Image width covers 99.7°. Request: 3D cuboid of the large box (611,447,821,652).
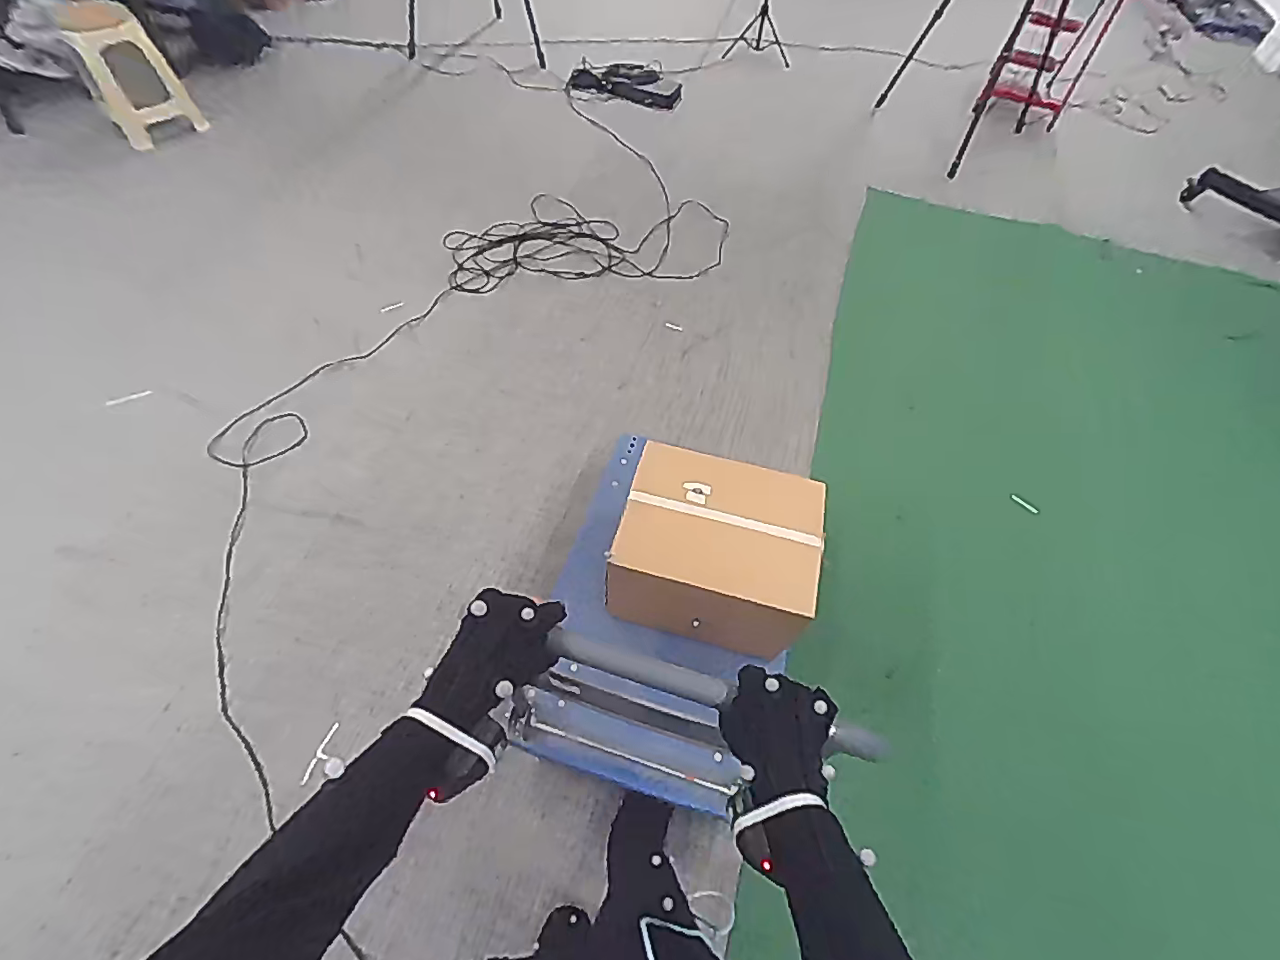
[{"bbox_3d":[0.167,0.168,1.247,0.408,0.320,0.320,13,57,6],"label":"large box"}]
